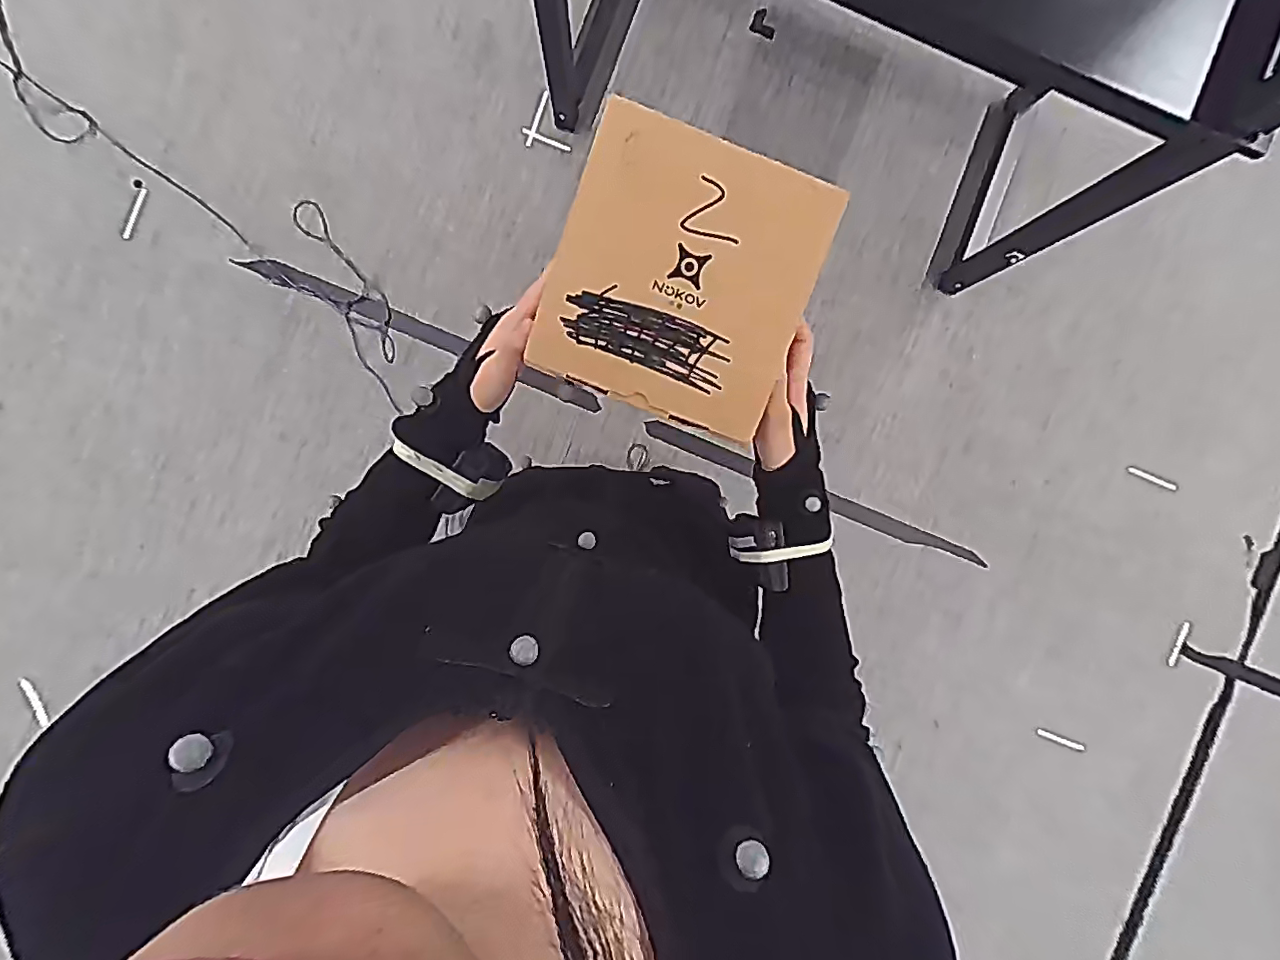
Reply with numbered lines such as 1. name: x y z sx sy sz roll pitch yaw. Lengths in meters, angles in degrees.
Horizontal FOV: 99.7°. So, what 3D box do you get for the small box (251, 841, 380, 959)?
1. small box: -0.730 0.985 1.237 0.168 0.176 0.179 24 89 -3
